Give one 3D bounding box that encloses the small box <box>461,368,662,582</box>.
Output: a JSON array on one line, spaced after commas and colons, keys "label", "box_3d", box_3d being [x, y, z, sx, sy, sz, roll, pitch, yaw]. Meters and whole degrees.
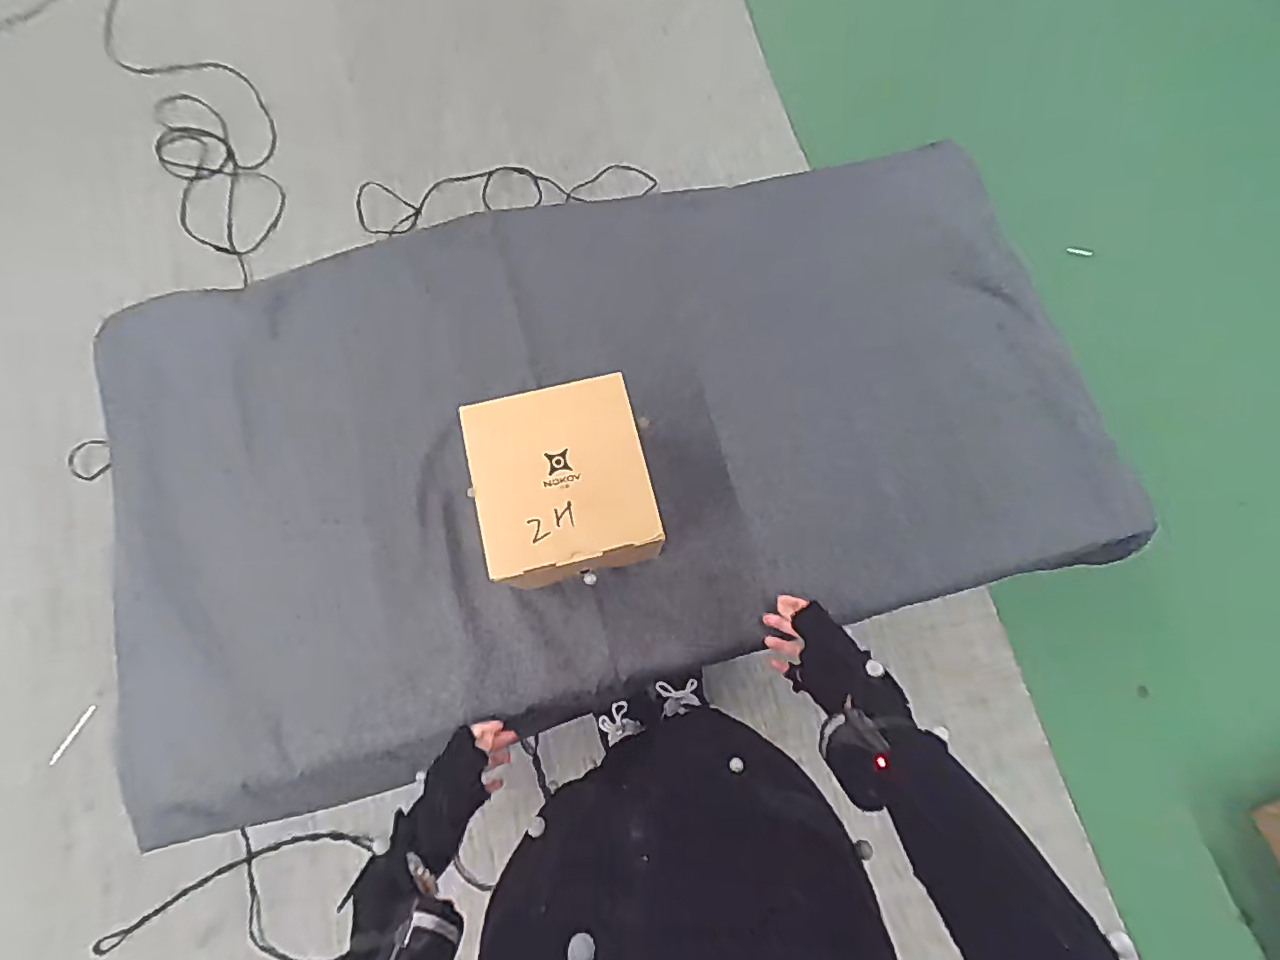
[{"label": "small box", "box_3d": [-0.079, 0.005, 0.592, 0.168, 0.176, 0.179, -14, 78, -4]}]
